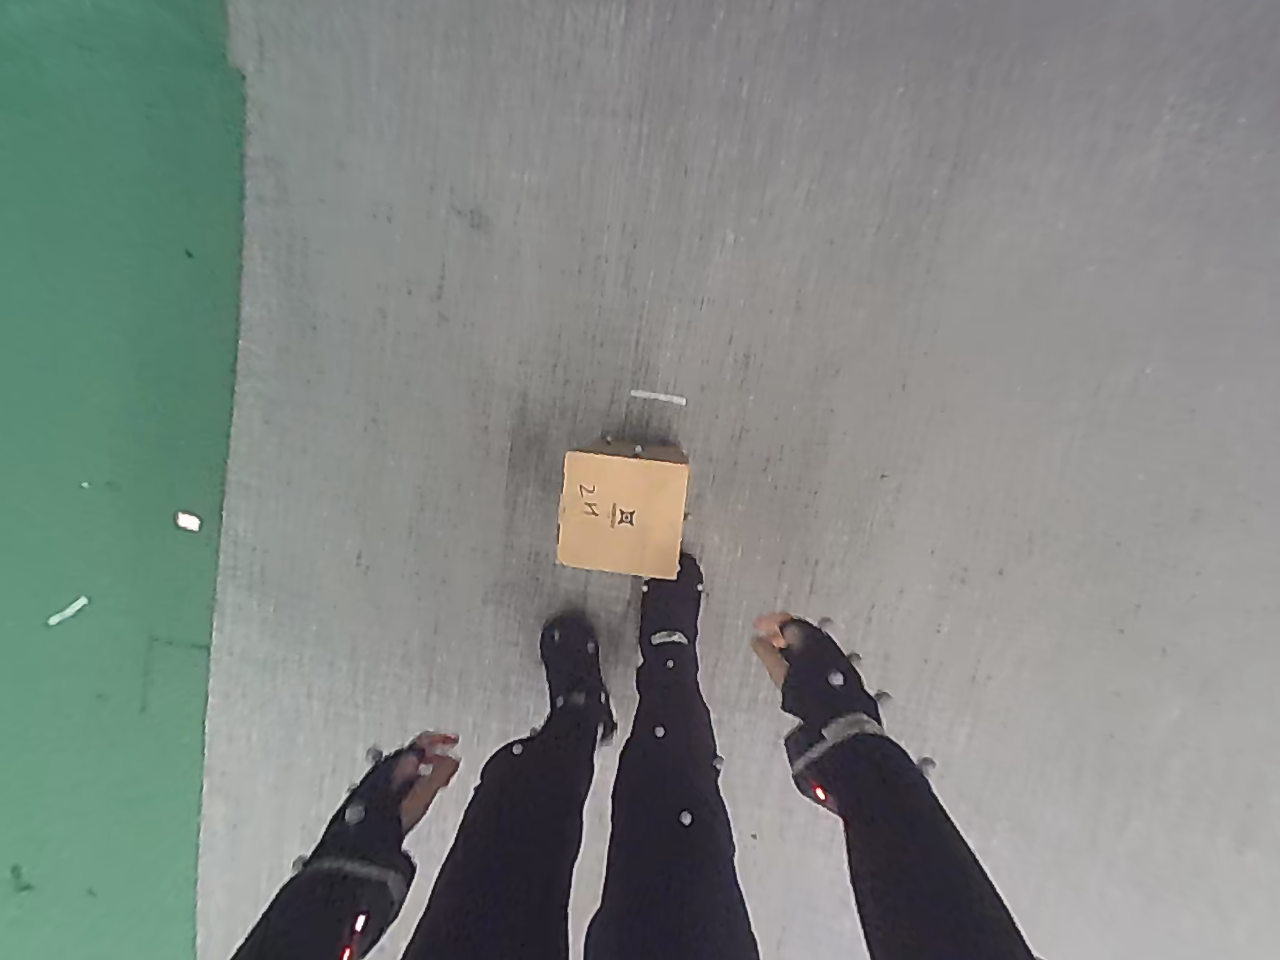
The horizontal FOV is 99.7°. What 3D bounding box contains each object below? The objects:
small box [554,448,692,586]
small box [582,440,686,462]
[{"bbox_3d":[-0.019,0.046,0.821,0.179,0.176,0.168,7,98,4],"label":"small box"},{"bbox_3d":[-0.012,0.021,0.984,0.179,0.176,0.168,7,99,5],"label":"small box"}]
